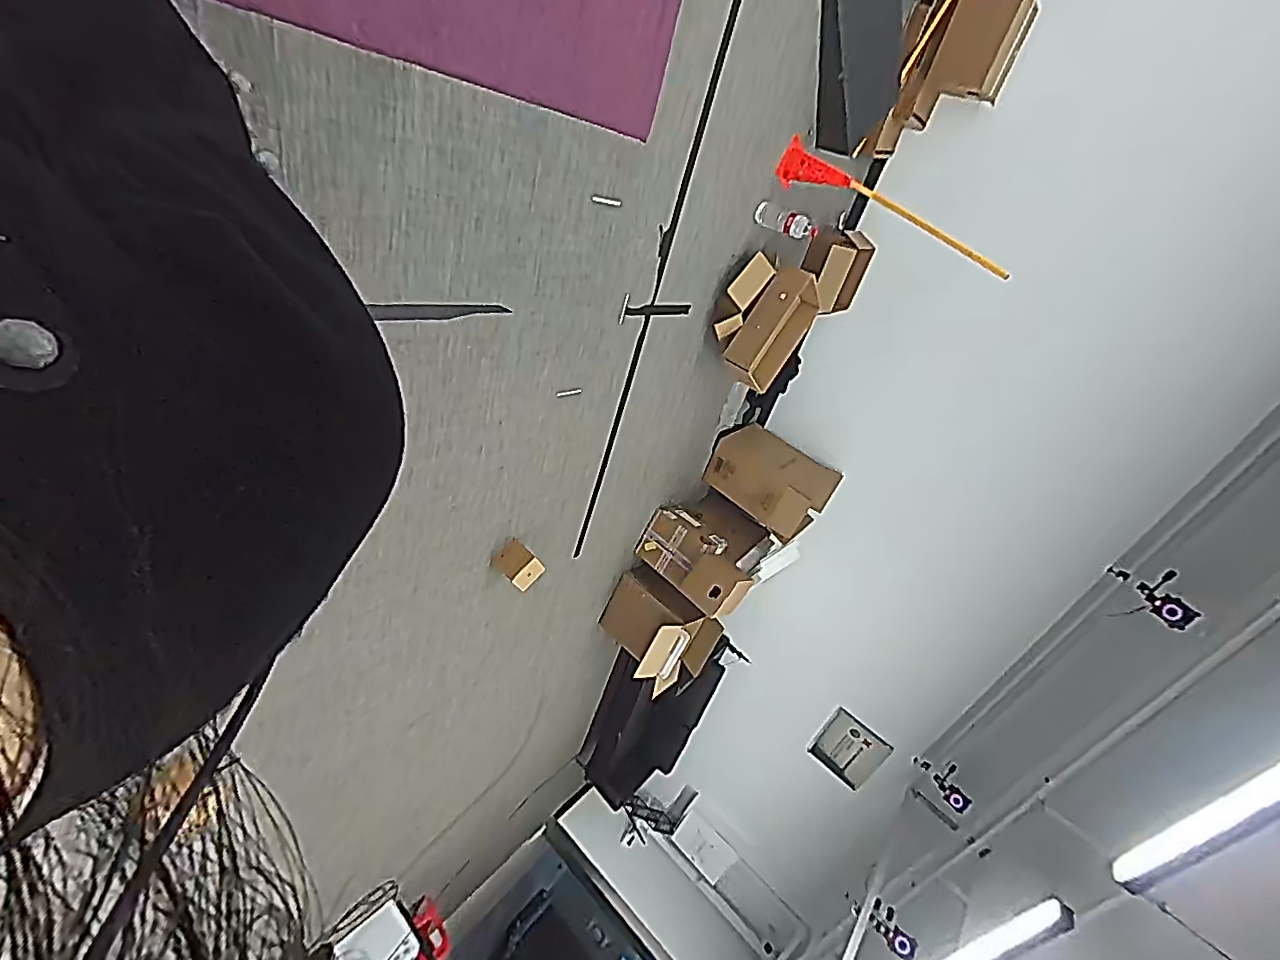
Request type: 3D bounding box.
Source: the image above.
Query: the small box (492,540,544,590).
[{"bbox_3d":[-0.627,0.429,2.760,0.168,0.176,0.179,-45,154,-15],"label":"small box"}]
